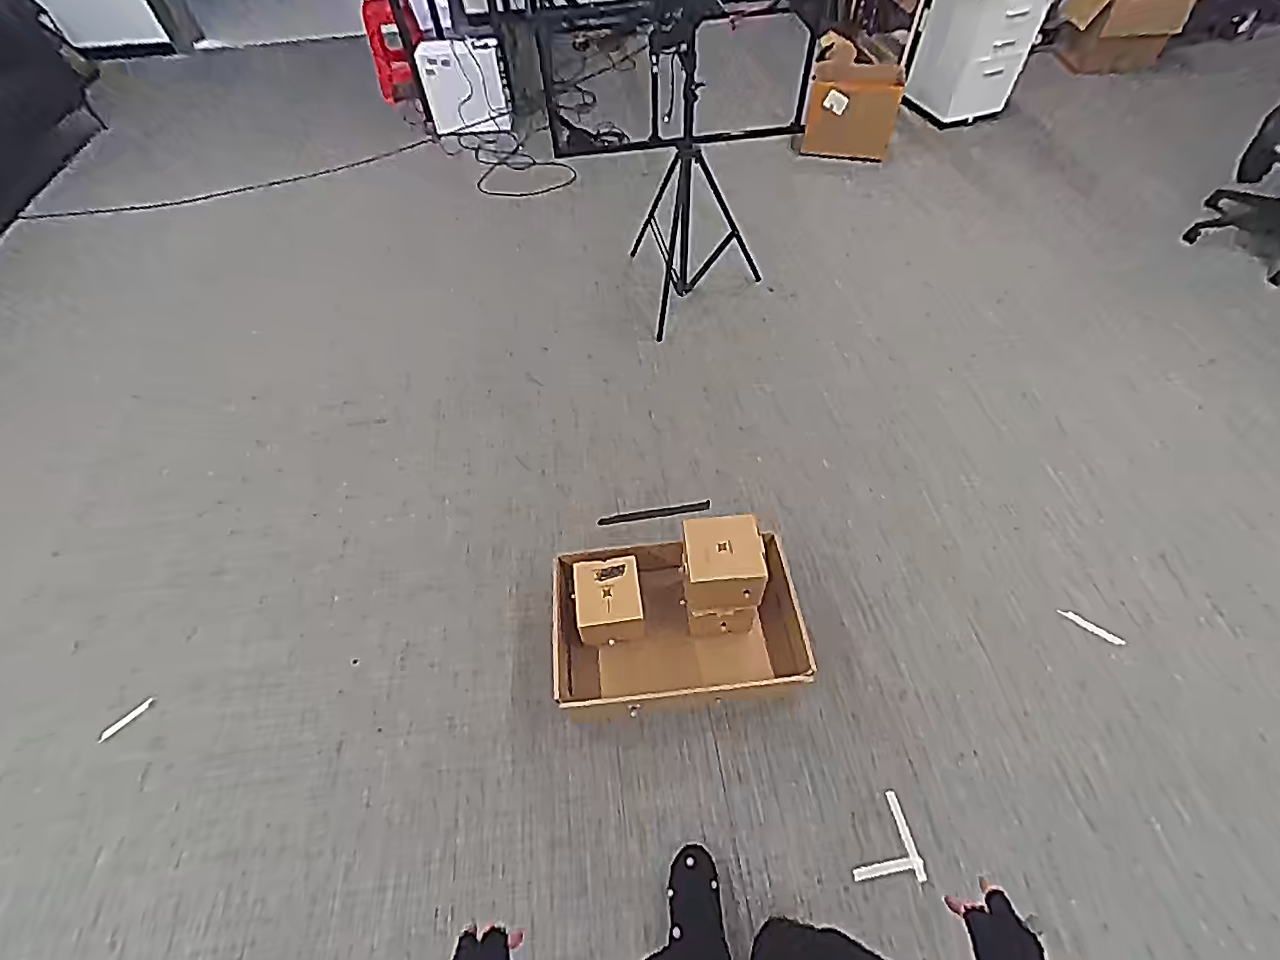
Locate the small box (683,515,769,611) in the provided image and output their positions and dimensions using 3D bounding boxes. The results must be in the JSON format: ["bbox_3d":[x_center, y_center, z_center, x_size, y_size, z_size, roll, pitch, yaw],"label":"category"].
[{"bbox_3d":[0.198,0.203,1.304,0.179,0.176,0.168,-6,54,1],"label":"small box"}]

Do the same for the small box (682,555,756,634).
[{"bbox_3d":[0.203,0.300,1.435,0.168,0.176,0.179,-6,57,-1],"label":"small box"}]
